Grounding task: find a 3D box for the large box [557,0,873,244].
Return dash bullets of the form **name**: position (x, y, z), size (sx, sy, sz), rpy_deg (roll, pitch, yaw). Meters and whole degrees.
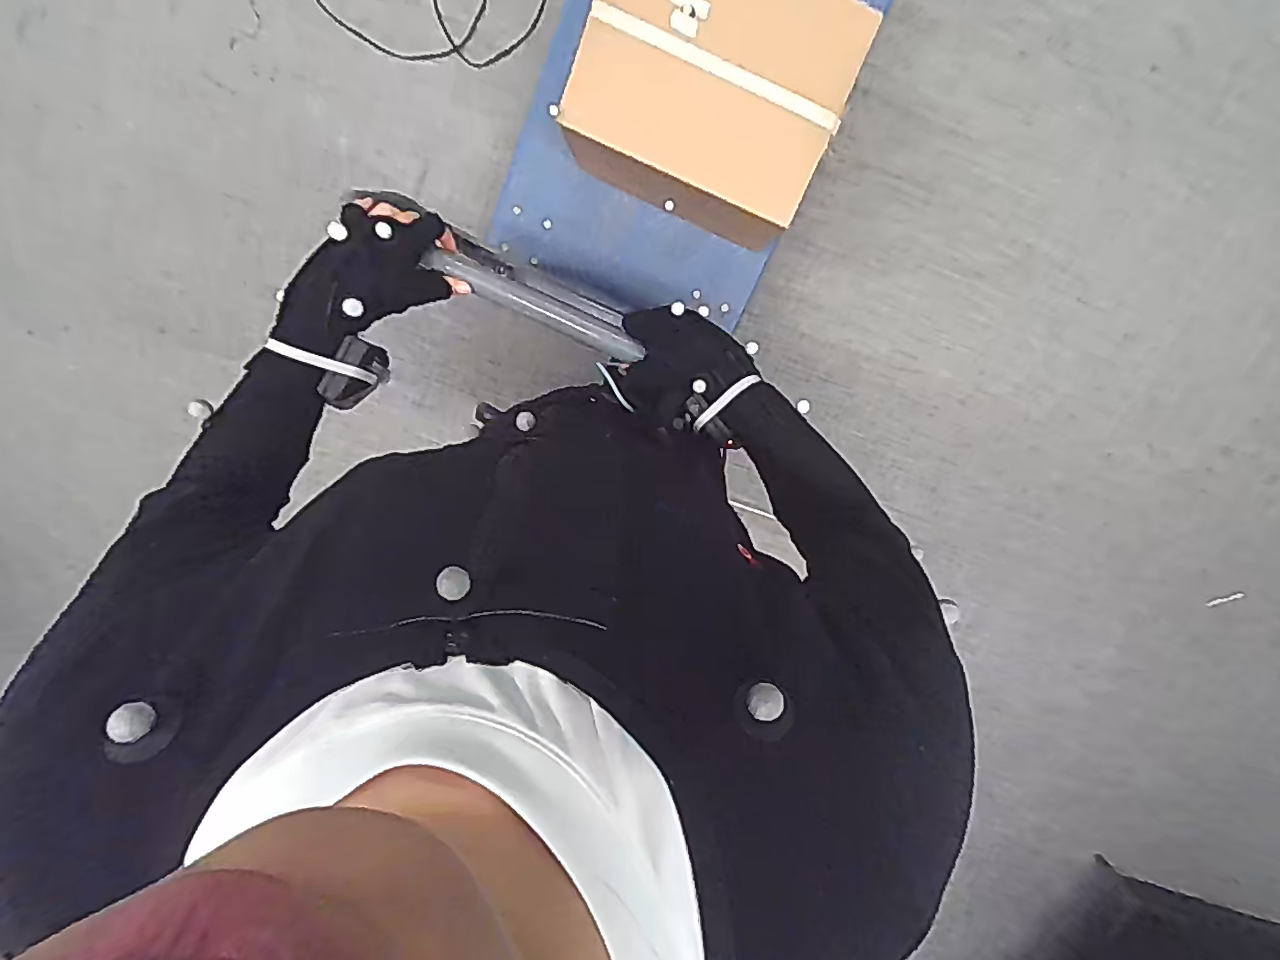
- **large box**: position (0.116, -0.664, 0.966), size (0.408, 0.320, 0.320), rpy_deg (23, 106, -4)
